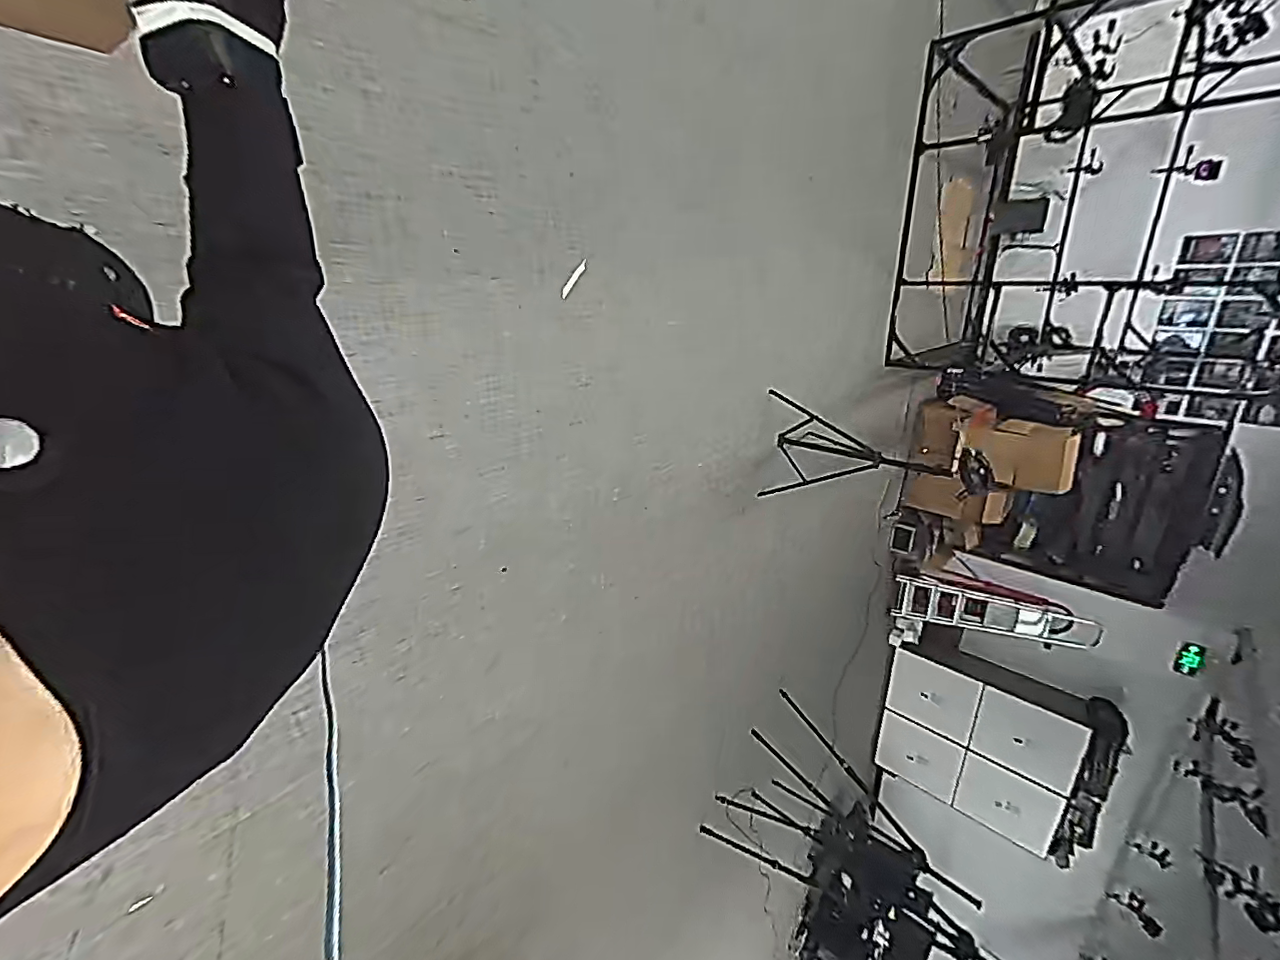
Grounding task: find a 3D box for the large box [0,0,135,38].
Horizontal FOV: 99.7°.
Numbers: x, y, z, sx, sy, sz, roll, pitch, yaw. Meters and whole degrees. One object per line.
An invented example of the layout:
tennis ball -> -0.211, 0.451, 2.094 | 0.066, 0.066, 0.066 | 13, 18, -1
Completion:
large box -> -0.542, -0.491, 0.257 | 0.408, 0.320, 0.320 | -17, 122, -47
